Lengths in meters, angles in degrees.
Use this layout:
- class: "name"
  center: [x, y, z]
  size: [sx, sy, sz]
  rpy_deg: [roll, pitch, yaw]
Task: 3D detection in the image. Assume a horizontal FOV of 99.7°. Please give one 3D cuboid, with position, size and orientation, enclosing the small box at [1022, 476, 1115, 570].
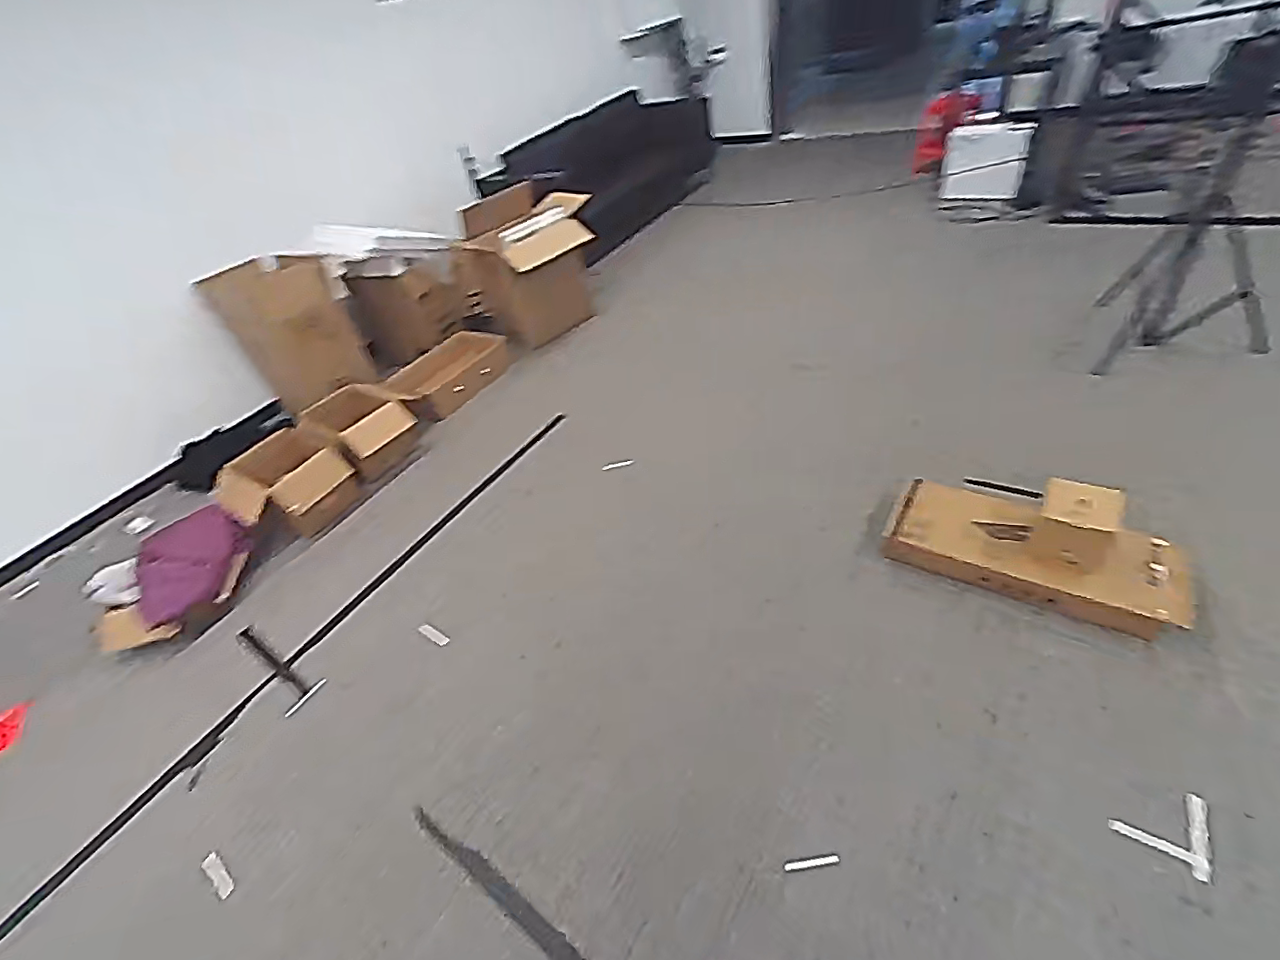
- class: "small box"
  center: [1.208, 0.121, 1.531]
  size: [0.168, 0.176, 0.179]
  rpy_deg: [16, 50, 31]
